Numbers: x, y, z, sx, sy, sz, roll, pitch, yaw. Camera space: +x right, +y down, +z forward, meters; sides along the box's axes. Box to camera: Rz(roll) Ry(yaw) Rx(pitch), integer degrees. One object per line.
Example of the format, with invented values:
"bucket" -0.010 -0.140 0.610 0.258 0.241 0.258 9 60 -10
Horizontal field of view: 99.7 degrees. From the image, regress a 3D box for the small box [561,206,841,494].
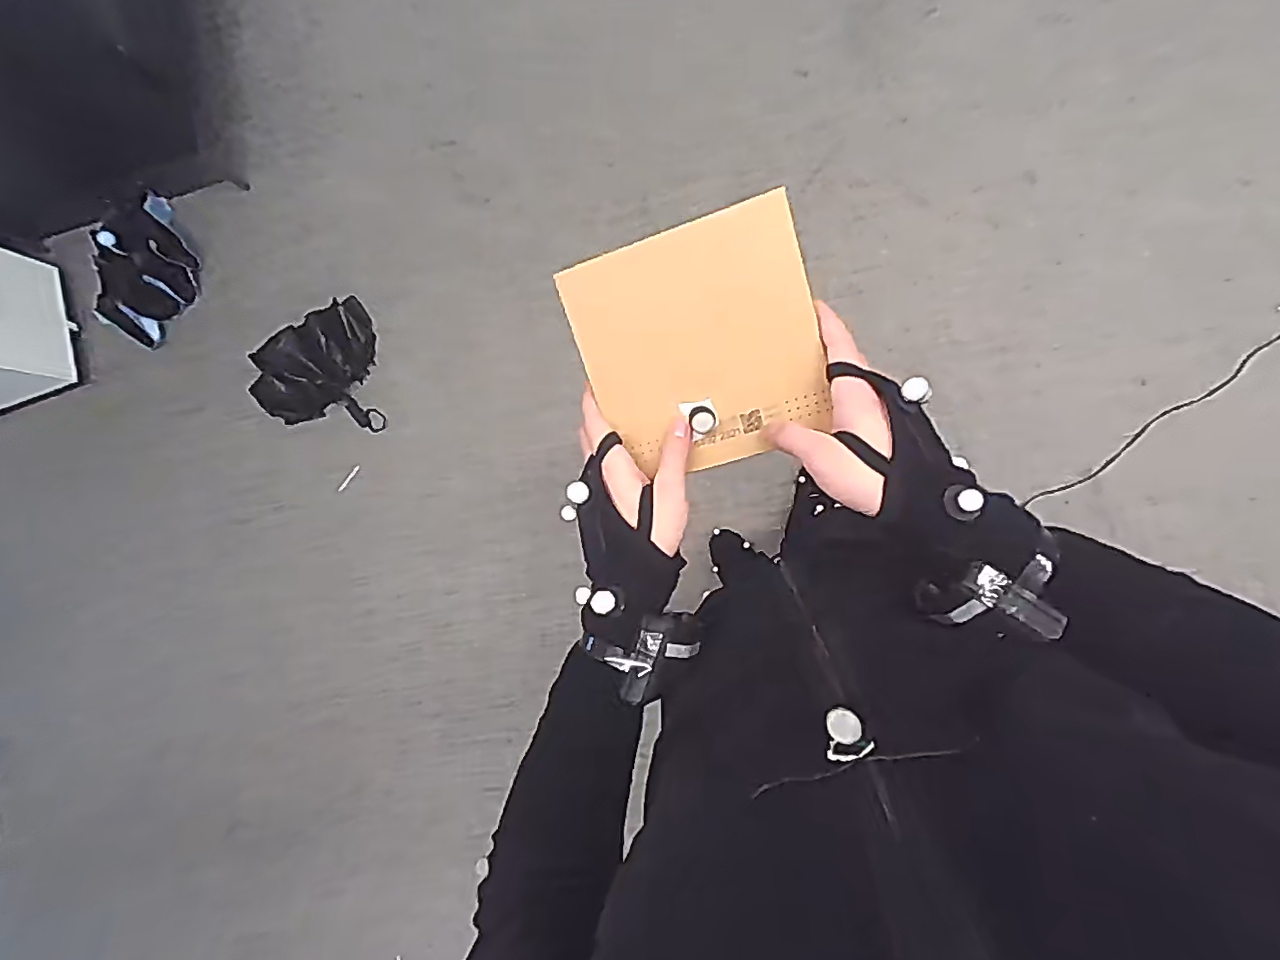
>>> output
"small box" 0.055 -0.100 0.466 0.168 0.179 0.176 -18 101 11
